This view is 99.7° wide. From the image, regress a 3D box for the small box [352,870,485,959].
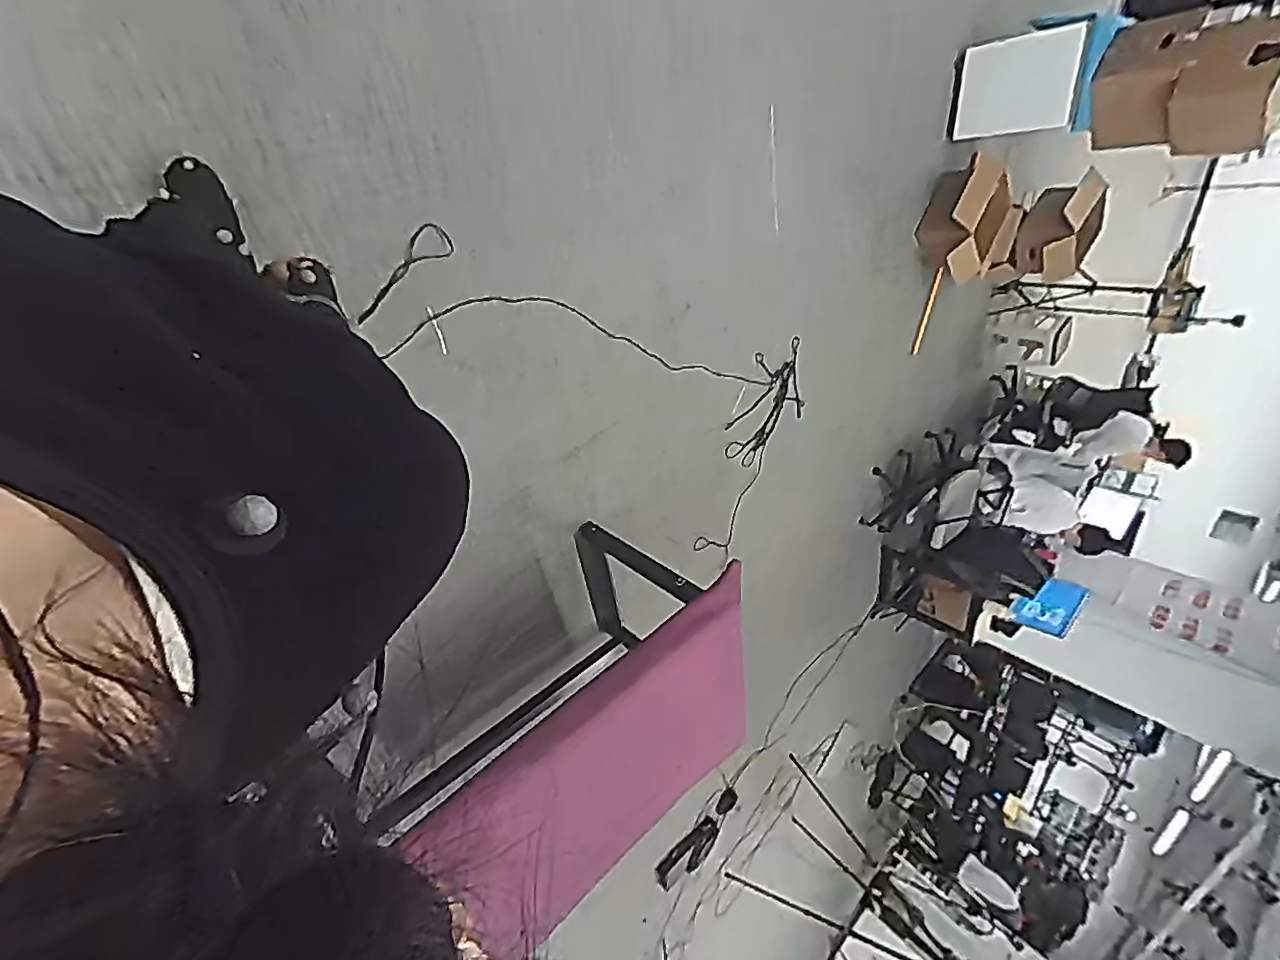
[{"bbox_3d":[-0.421,0.909,1.031,0.179,0.176,0.168,-34,128,-29],"label":"small box"}]
